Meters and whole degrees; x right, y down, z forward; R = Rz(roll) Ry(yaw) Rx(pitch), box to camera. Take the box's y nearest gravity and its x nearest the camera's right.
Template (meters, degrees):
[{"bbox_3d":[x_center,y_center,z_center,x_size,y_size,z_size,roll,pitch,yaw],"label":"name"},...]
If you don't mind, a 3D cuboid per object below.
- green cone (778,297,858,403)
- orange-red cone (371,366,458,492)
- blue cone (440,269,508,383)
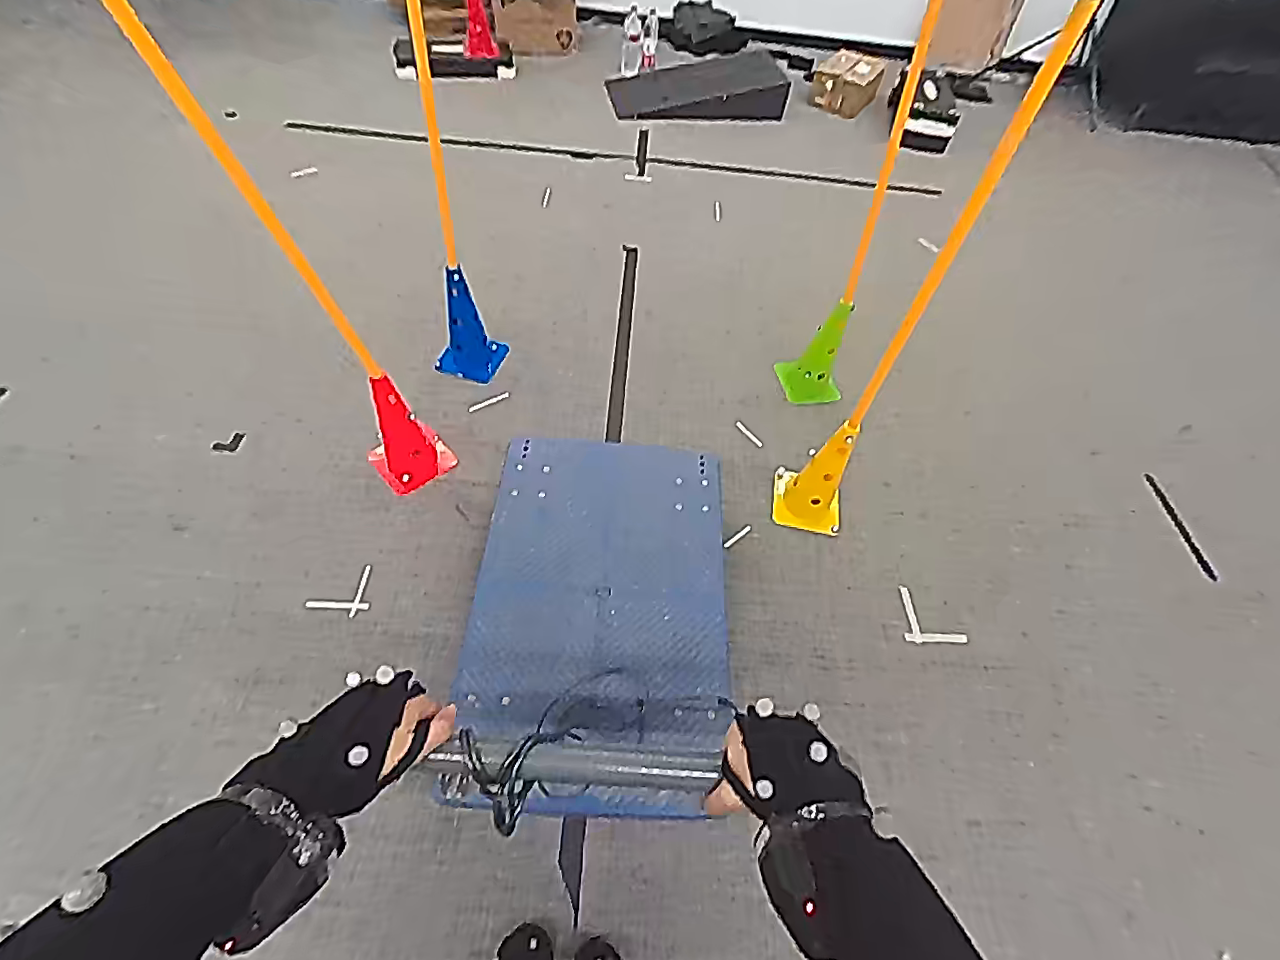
[{"bbox_3d":[0.624,-0.452,1.797,0.200,0.368,0.202,-7,58,-10],"label":"green cone"},{"bbox_3d":[-0.650,-0.167,1.463,0.199,0.360,0.198,-34,66,-27],"label":"orange-red cone"},{"bbox_3d":[-0.554,-0.510,1.728,0.193,0.380,0.192,17,56,6],"label":"blue cone"}]
